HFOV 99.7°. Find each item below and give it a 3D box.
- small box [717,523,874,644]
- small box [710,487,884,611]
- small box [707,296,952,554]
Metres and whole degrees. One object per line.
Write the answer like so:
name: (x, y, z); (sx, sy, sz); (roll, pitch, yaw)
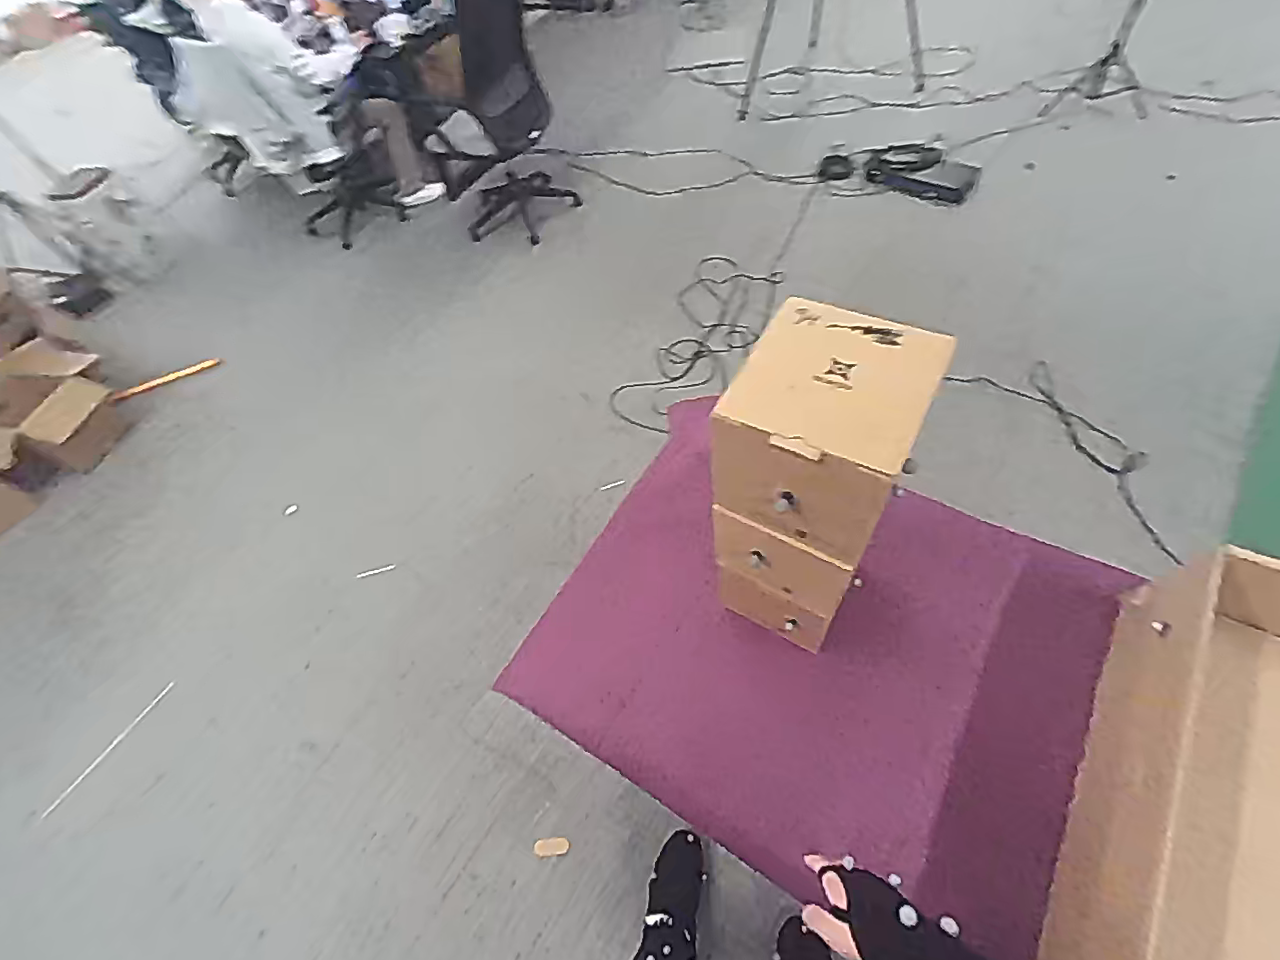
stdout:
small box: (0.234, 0.124, 0.829); (0.168, 0.176, 0.179); (26, 65, 23)
small box: (0.206, 0.040, 0.694); (0.168, 0.176, 0.179); (25, 65, 23)
small box: (0.185, -0.051, 0.559); (0.168, 0.176, 0.179); (25, 65, 23)
